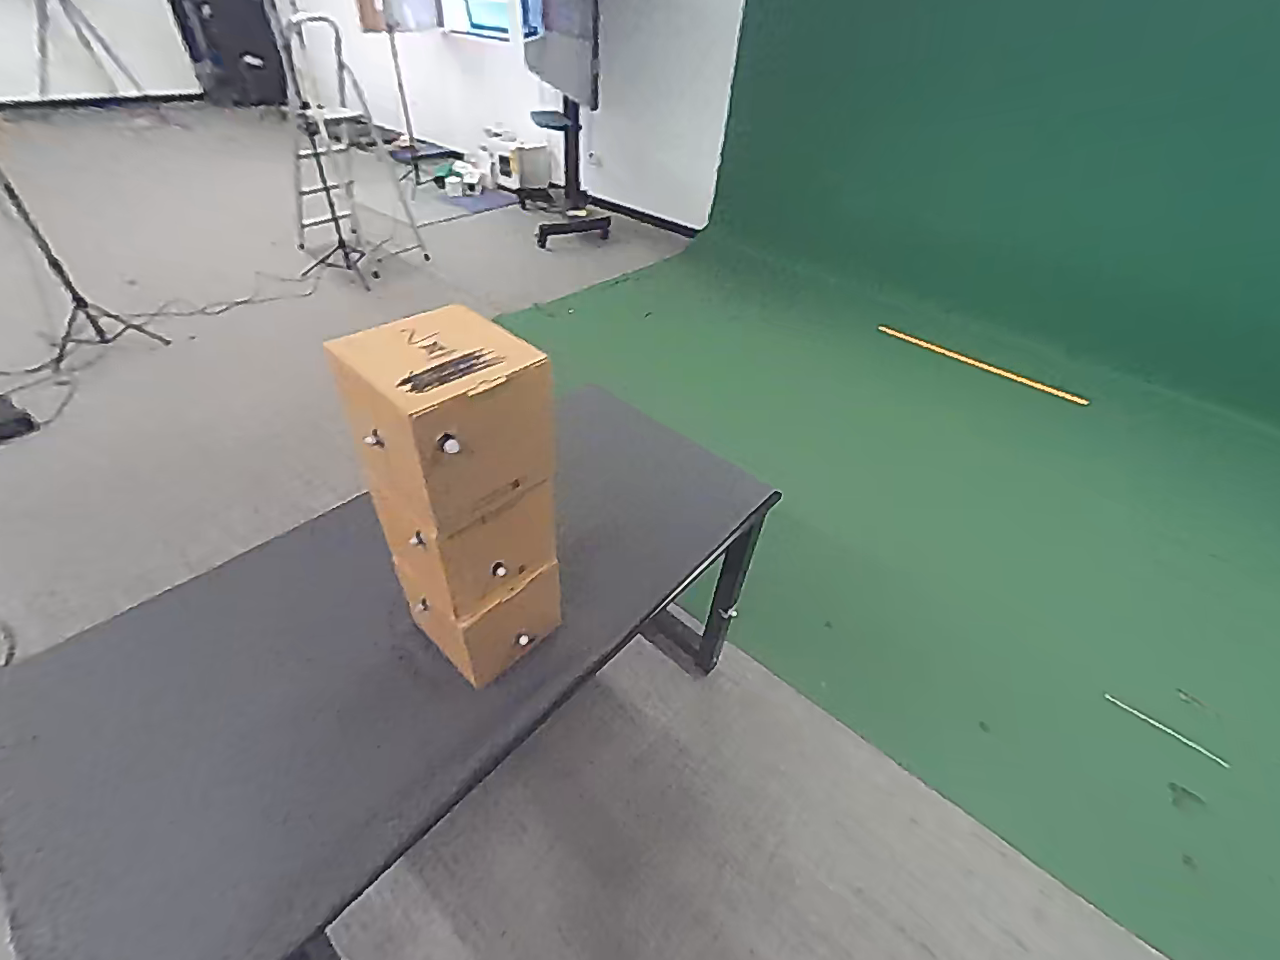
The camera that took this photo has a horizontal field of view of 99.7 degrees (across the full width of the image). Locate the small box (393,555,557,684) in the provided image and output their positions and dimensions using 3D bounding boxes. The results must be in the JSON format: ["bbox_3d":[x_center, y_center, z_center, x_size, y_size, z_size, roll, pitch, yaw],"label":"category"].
[{"bbox_3d":[-0.245,0.174,0.833,0.179,0.176,0.168,33,49,28],"label":"small box"}]

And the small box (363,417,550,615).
[{"bbox_3d":[-0.239,0.047,0.733,0.179,0.176,0.168,33,48,28],"label":"small box"}]
